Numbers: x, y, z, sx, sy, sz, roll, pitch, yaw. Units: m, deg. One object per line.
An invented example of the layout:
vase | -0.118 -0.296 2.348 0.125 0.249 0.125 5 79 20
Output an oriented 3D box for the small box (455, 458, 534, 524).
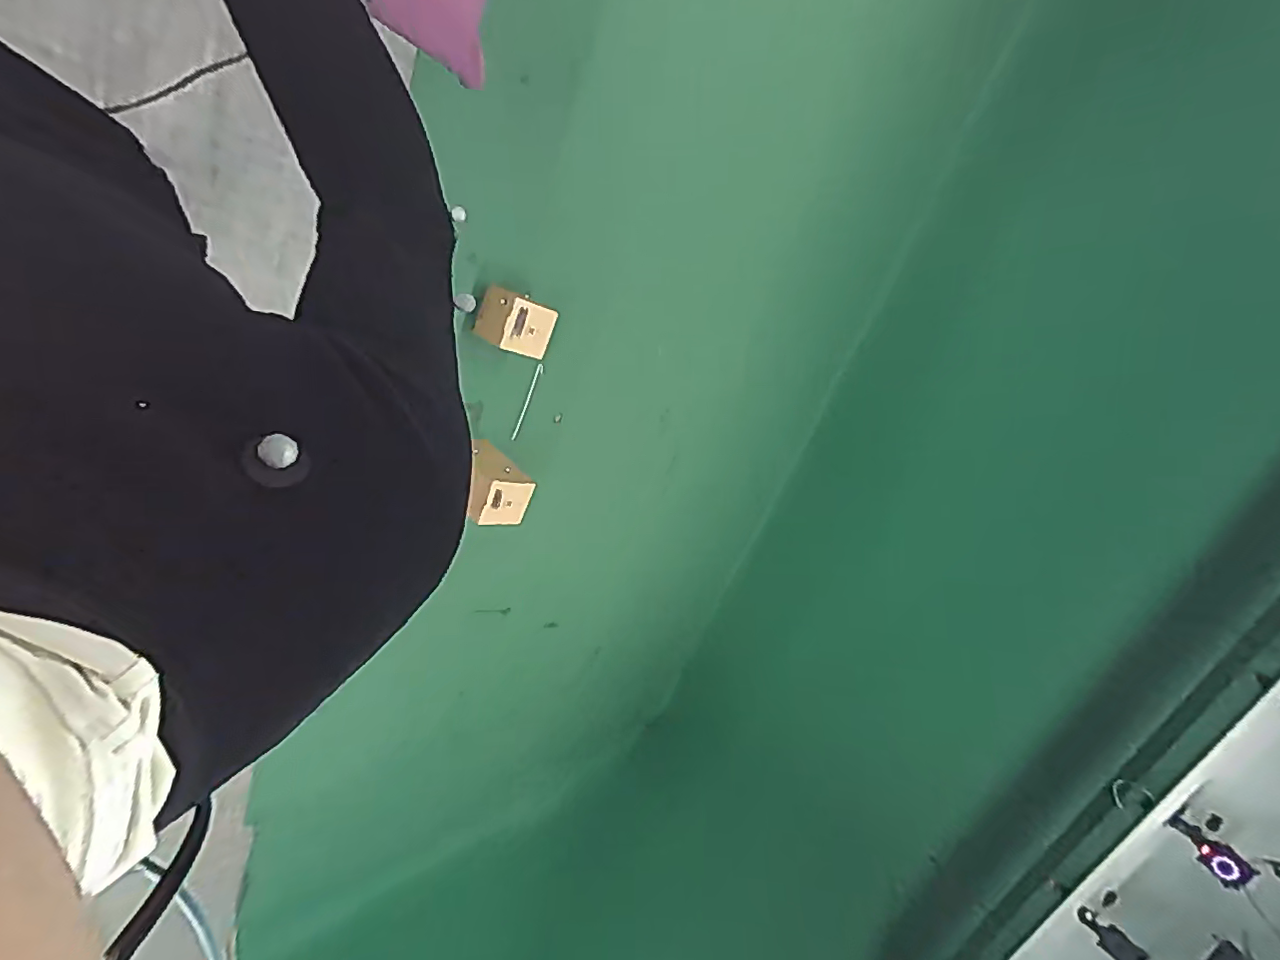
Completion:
small box | -0.499 0.036 1.843 0.179 0.176 0.168 5 116 -51

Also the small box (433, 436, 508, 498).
small box | -0.607 -0.044 1.937 0.179 0.176 0.168 4 117 -49
